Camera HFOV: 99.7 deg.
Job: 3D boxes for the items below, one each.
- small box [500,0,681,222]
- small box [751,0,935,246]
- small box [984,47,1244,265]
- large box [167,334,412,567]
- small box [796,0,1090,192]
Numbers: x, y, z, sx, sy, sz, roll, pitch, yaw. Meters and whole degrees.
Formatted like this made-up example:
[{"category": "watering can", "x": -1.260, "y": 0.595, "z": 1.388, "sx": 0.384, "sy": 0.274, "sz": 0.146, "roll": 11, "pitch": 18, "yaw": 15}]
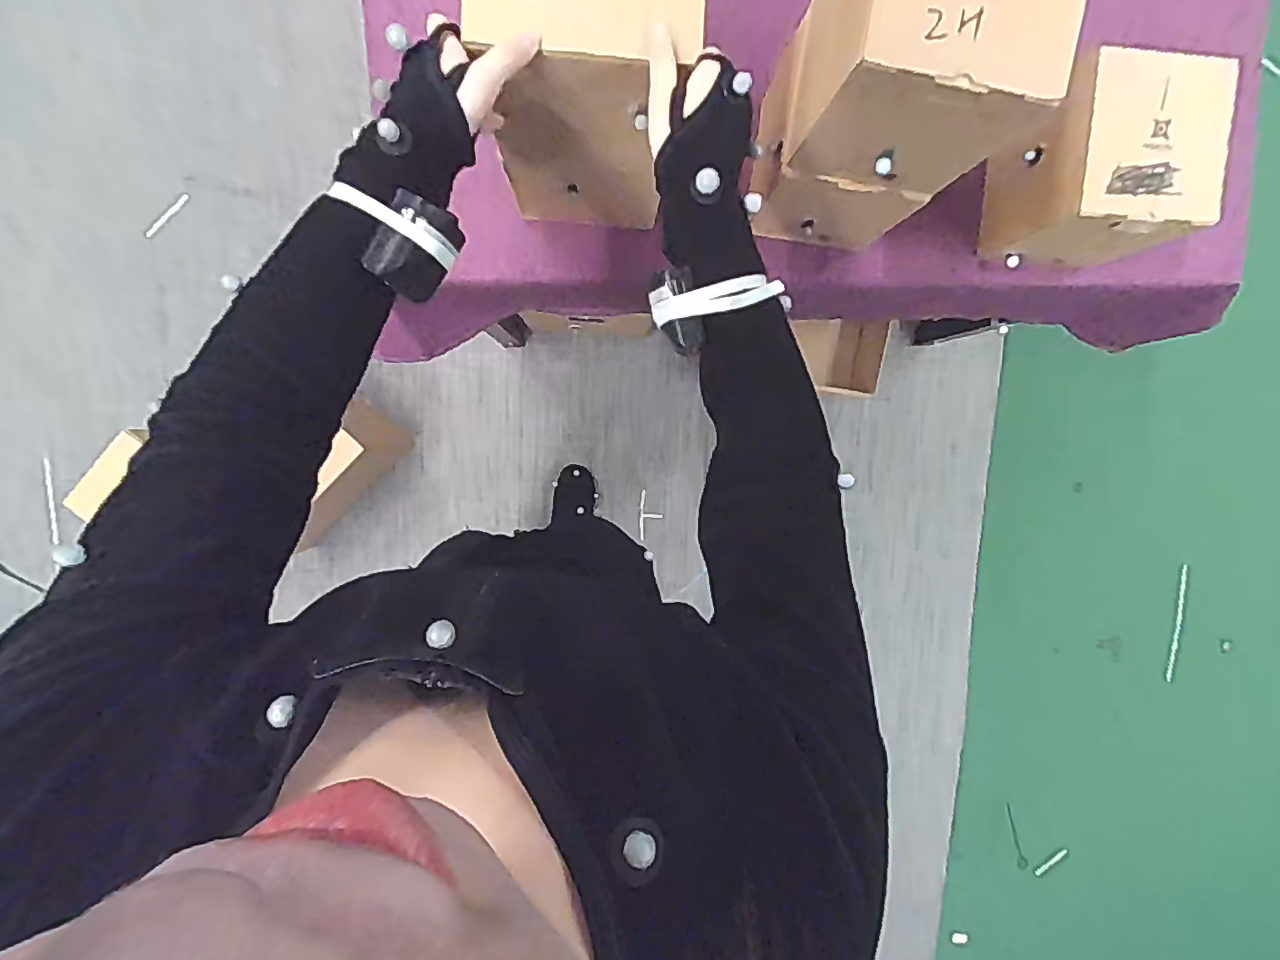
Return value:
[{"category": "small box", "x": -0.054, "y": -0.414, "z": 0.624, "sx": 0.179, "sy": 0.176, "sz": 0.168, "roll": 3, "pitch": 97, "yaw": -3}, {"category": "small box", "x": 0.243, "y": -0.406, "z": 0.647, "sx": 0.168, "sy": 0.176, "sz": 0.179, "roll": 8, "pitch": 97, "yaw": -5}, {"category": "small box", "x": 0.562, "y": -0.380, "z": 0.668, "sx": 0.168, "sy": 0.176, "sz": 0.179, "roll": 3, "pitch": 96, "yaw": -4}, {"category": "large box", "x": -0.835, "y": -0.070, "z": 1.278, "sx": 0.408, "sy": 0.320, "sz": 0.320, "roll": -45, "pitch": 98, "yaw": 1}, {"category": "small box", "x": 0.256, "y": -0.393, "z": 0.483, "sx": 0.168, "sy": 0.176, "sz": 0.179, "roll": 9, "pitch": 96, "yaw": -4}]
